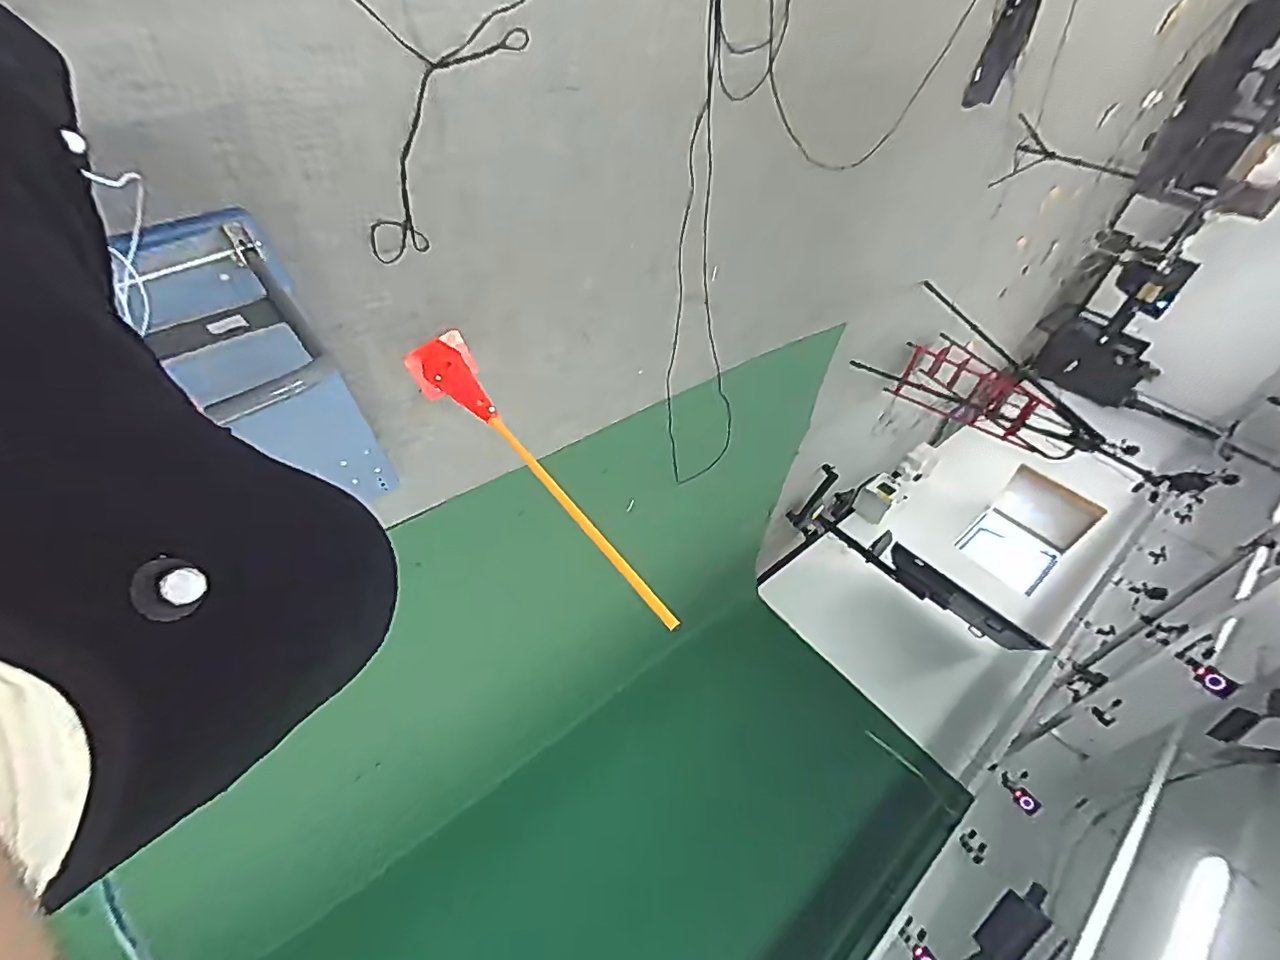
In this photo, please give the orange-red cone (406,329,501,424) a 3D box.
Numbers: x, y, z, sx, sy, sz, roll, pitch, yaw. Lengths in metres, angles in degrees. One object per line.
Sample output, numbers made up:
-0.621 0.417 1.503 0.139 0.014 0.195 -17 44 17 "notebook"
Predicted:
-0.547 -0.288 1.711 0.199 0.360 0.198 -38 149 -18 "orange-red cone"
